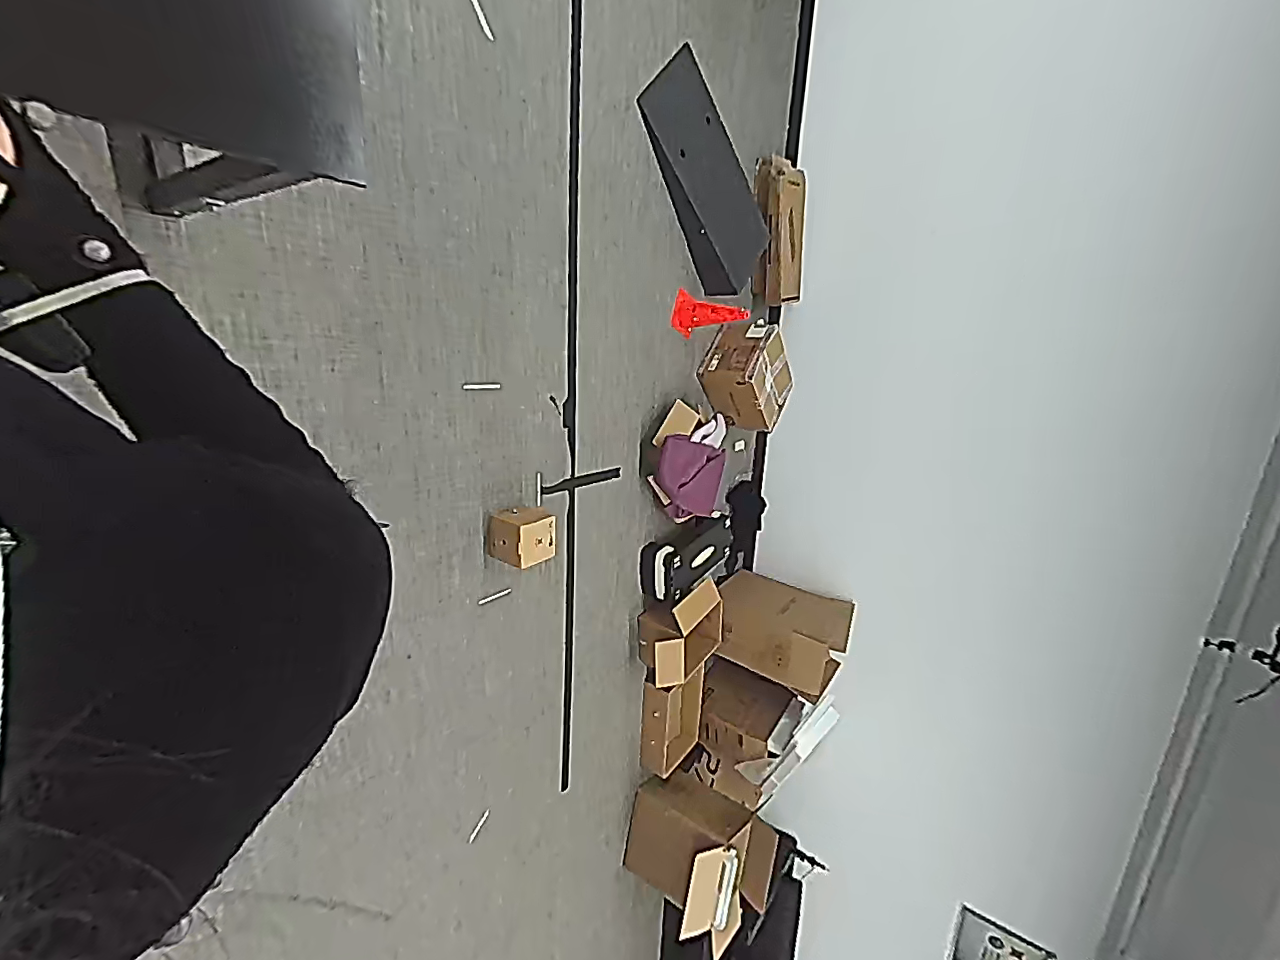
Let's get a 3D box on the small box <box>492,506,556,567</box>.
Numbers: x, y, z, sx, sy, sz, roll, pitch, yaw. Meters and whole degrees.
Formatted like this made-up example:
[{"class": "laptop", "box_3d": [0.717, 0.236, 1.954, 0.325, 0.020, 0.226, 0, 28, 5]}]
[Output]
[{"class": "small box", "box_3d": [-0.435, 0.204, 2.012, 0.179, 0.176, 0.168, -16, 113, -51]}]
